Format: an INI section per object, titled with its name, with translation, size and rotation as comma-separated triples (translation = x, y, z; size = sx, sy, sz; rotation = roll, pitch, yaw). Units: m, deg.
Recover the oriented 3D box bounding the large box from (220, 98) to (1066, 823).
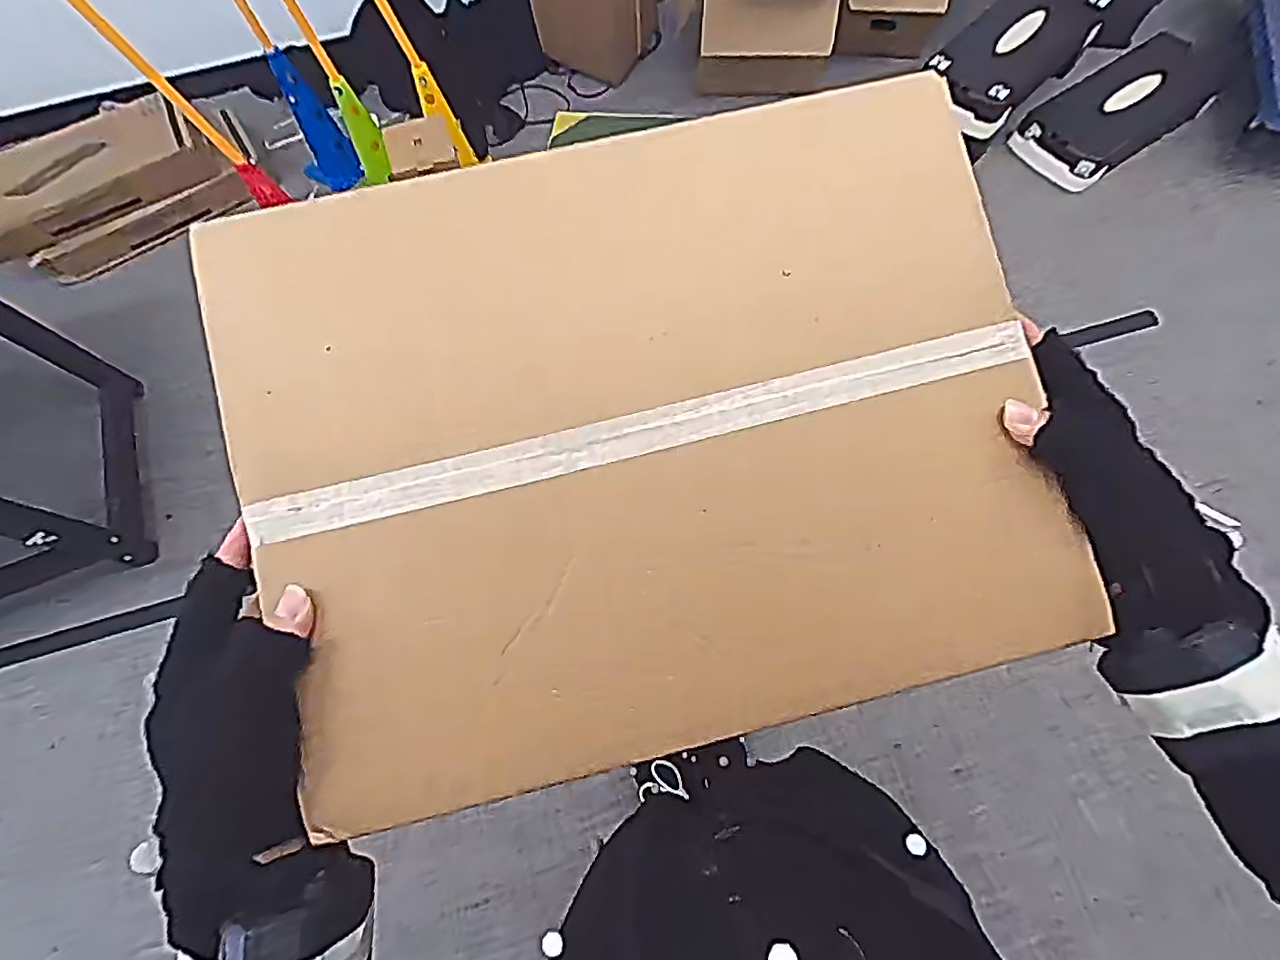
[large box]
translation = -0.001, -0.013, 0.436
size = 0.408, 0.320, 0.320
rotation = -14, 85, -3
